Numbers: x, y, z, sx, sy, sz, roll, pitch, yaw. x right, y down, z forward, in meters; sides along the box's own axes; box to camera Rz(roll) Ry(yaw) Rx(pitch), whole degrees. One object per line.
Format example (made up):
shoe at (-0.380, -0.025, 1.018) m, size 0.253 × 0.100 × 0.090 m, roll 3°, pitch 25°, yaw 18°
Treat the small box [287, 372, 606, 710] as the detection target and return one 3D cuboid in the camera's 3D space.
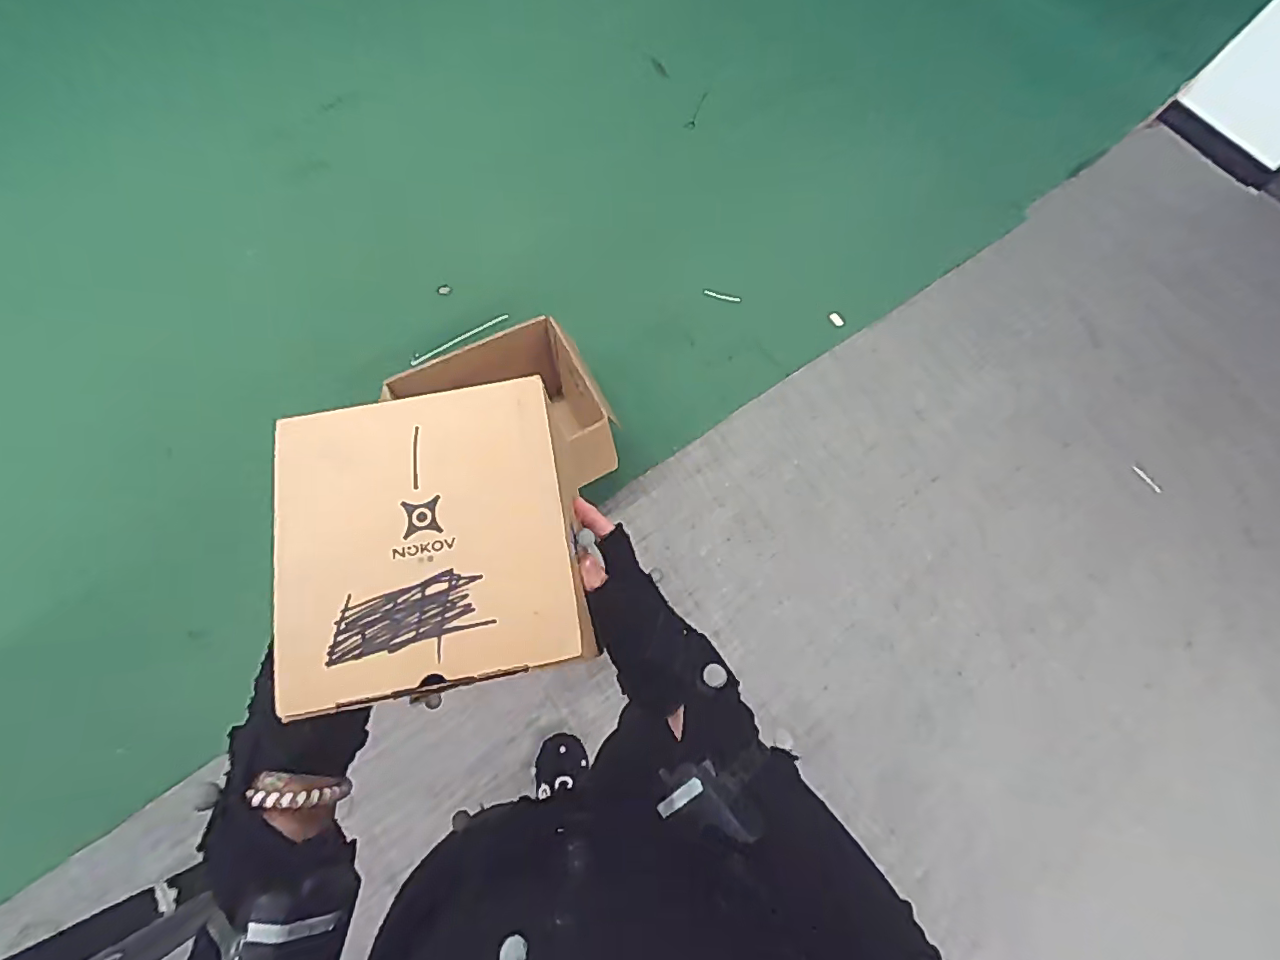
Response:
small box at (-0.120, 0.049, 0.390) m, size 0.168 × 0.176 × 0.179 m, roll -10°, pitch 73°, yaw -4°
